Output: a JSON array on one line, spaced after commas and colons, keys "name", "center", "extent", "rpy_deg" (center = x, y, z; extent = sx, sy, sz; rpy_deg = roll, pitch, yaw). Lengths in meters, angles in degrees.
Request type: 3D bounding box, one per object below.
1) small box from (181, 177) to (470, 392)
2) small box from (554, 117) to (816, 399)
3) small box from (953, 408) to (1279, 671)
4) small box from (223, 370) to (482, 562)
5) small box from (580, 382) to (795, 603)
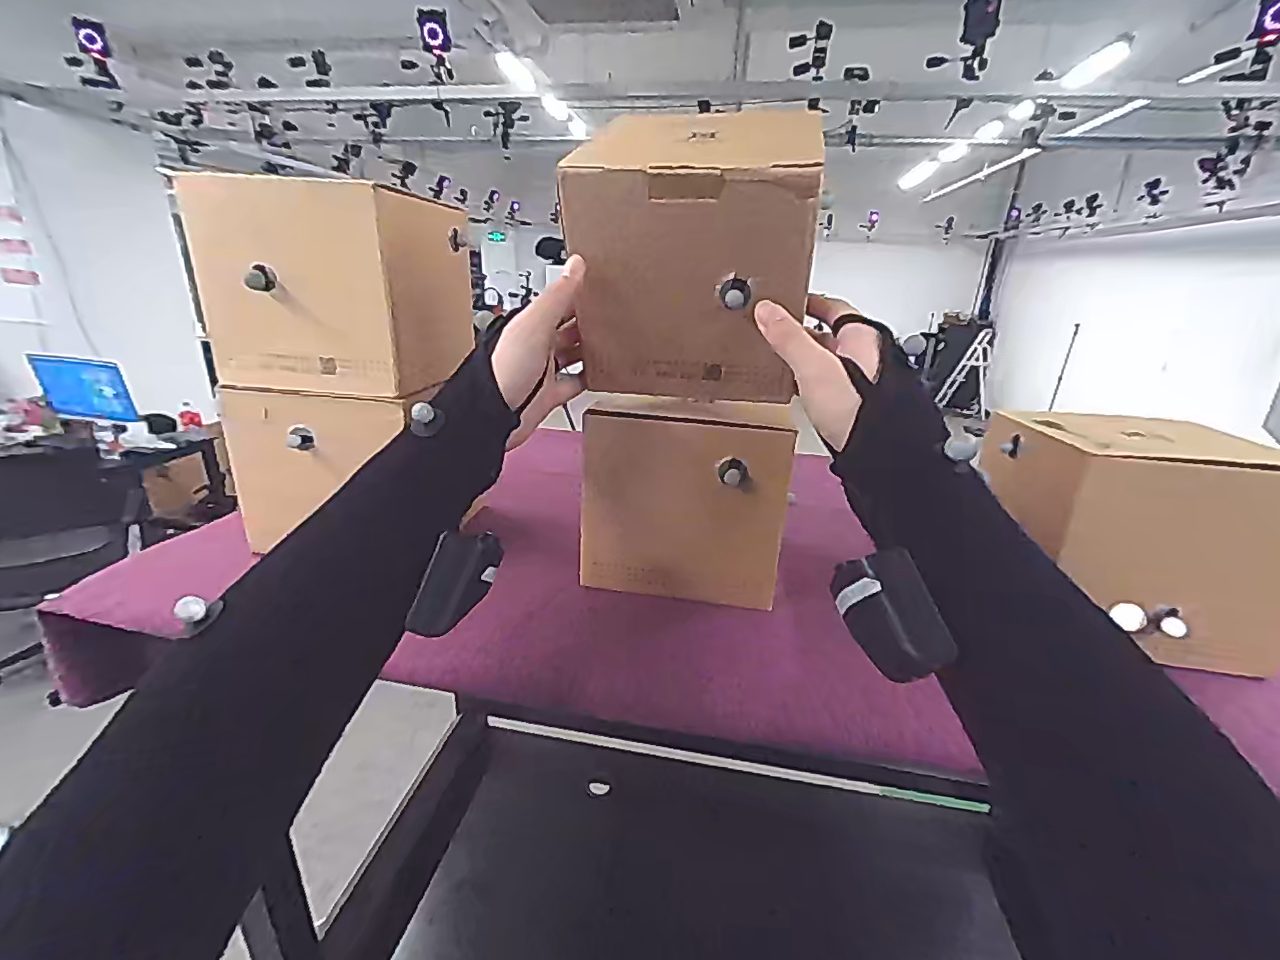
[{"name": "small box", "center": [-0.274, -0.181, 0.521], "extent": [0.168, 0.176, 0.179], "rpy_deg": [4, 19, 5]}, {"name": "small box", "center": [0.048, -0.182, 0.444], "extent": [0.168, 0.176, 0.179], "rpy_deg": [7, 41, 12]}, {"name": "small box", "center": [0.411, 0.042, 0.474], "extent": [0.179, 0.176, 0.168], "rpy_deg": [6, 18, 9]}, {"name": "small box", "center": [-0.282, -0.027, 0.572], "extent": [0.179, 0.176, 0.168], "rpy_deg": [6, 20, 5]}, {"name": "small box", "center": [0.046, 0.004, 0.534], "extent": [0.179, 0.176, 0.168], "rpy_deg": [6, 19, 9]}]
